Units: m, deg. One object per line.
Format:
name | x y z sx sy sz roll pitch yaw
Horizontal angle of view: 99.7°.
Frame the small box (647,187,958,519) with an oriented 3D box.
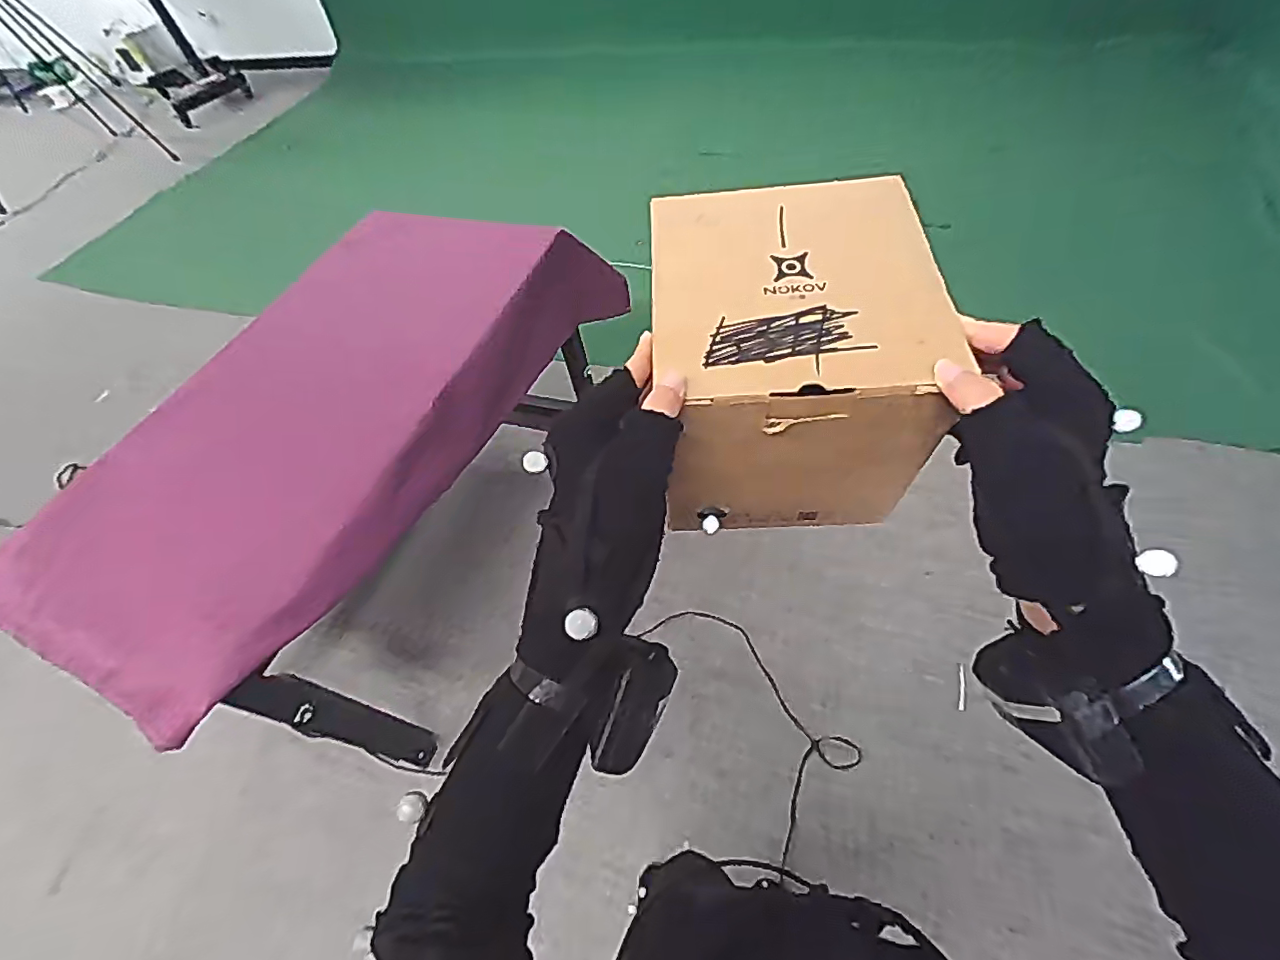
small box | 0.096 -0.078 0.397 0.168 0.176 0.179 -2 59 5
